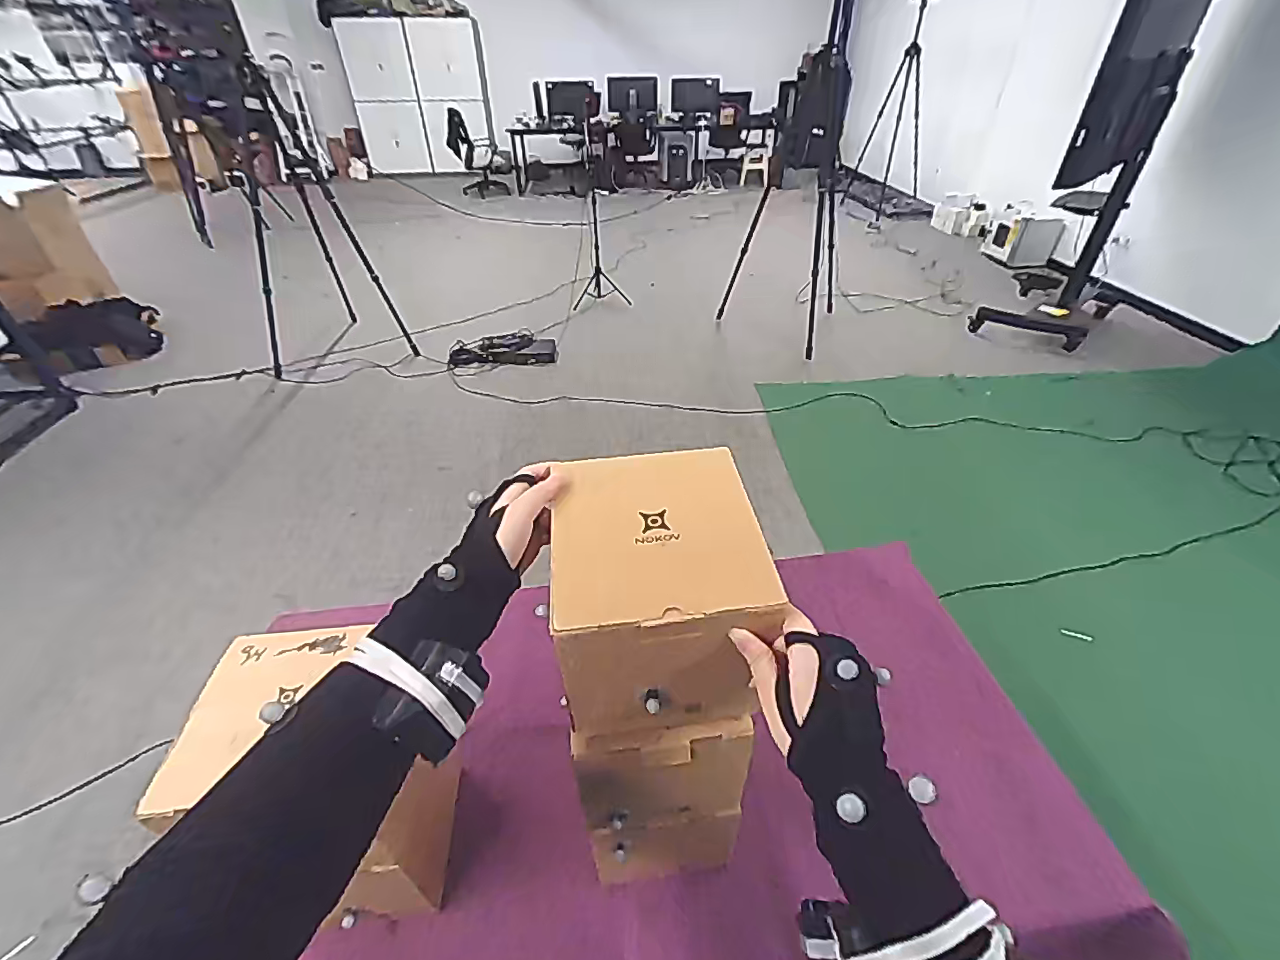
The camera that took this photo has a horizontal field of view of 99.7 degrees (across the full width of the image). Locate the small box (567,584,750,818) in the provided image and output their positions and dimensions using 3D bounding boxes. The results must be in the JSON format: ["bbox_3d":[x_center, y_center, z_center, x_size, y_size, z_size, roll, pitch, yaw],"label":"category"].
[{"bbox_3d":[0.012,0.242,0.590,0.168,0.176,0.179,-5,37,-6],"label":"small box"}]

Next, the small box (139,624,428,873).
[{"bbox_3d":[-0.332,0.276,0.555,0.168,0.176,0.179,-4,39,-5],"label":"small box"}]

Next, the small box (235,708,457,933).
[{"bbox_3d":[-0.329,0.407,0.654,0.168,0.176,0.179,-5,38,-4],"label":"small box"}]
